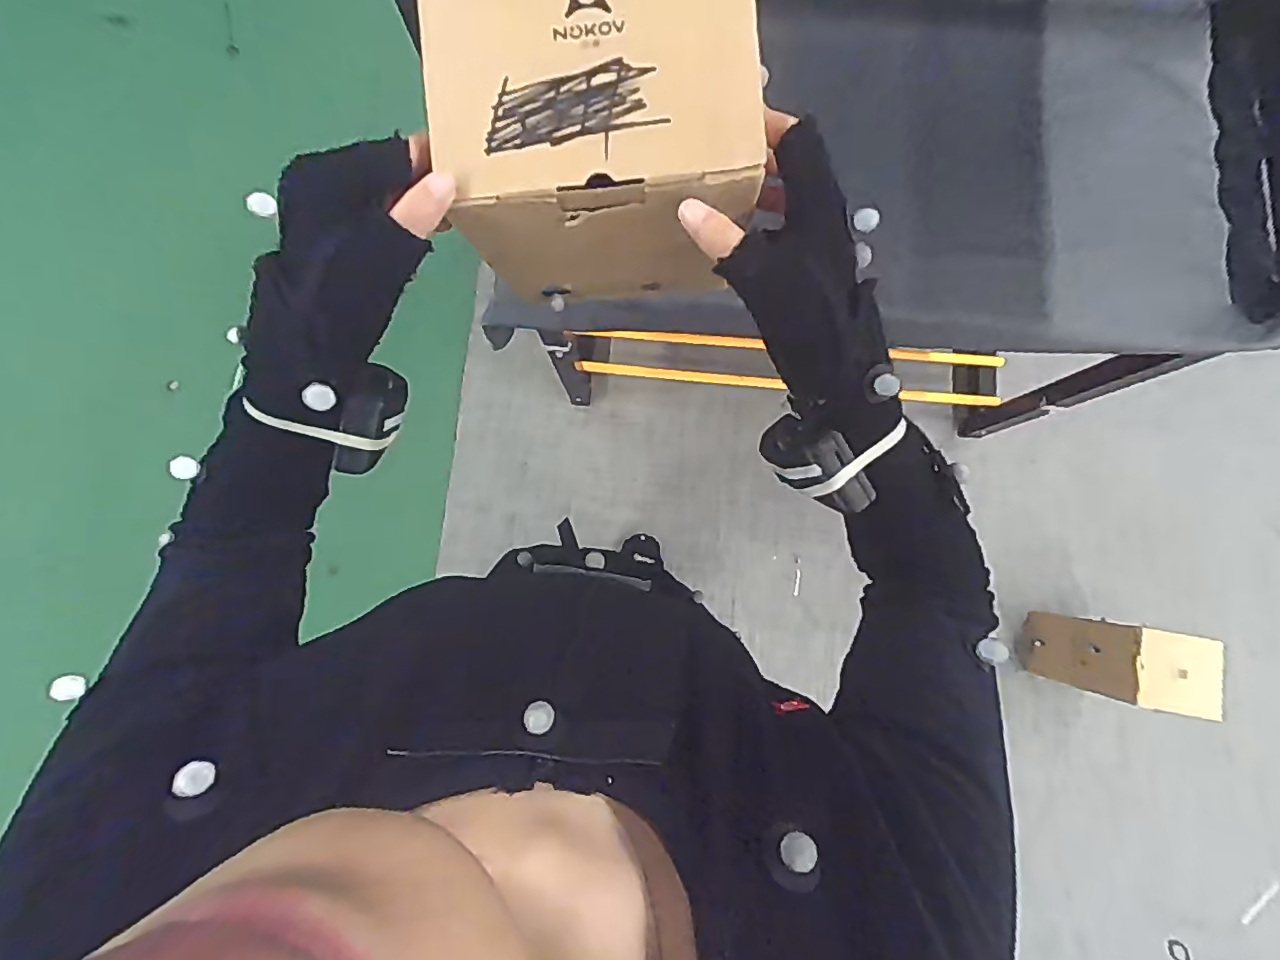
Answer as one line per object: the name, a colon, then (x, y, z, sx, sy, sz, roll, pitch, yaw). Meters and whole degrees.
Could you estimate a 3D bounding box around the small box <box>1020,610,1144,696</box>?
small box: (1.124, 0.433, 1.384, 0.179, 0.176, 0.168, 11, 82, 2)
